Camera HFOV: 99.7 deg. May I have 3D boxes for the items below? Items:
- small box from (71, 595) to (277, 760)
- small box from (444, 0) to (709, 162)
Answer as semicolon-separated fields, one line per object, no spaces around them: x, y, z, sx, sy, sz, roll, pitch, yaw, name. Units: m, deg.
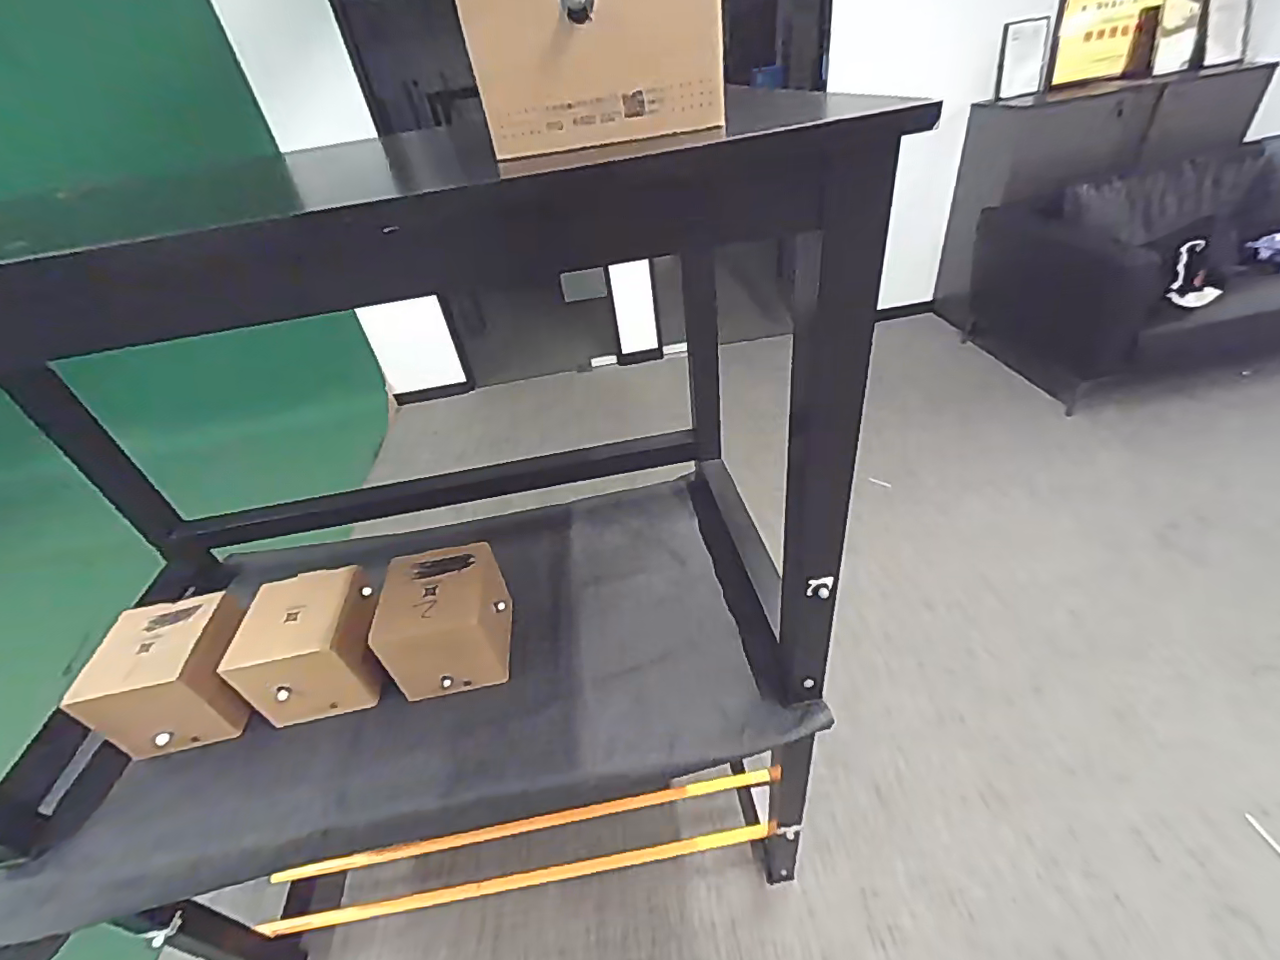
-0.744;0.324;0.894;0.168;0.176;0.179;-12;38;-3;small box
-0.039;-0.349;0.403;0.168;0.176;0.179;-5;37;7;small box
